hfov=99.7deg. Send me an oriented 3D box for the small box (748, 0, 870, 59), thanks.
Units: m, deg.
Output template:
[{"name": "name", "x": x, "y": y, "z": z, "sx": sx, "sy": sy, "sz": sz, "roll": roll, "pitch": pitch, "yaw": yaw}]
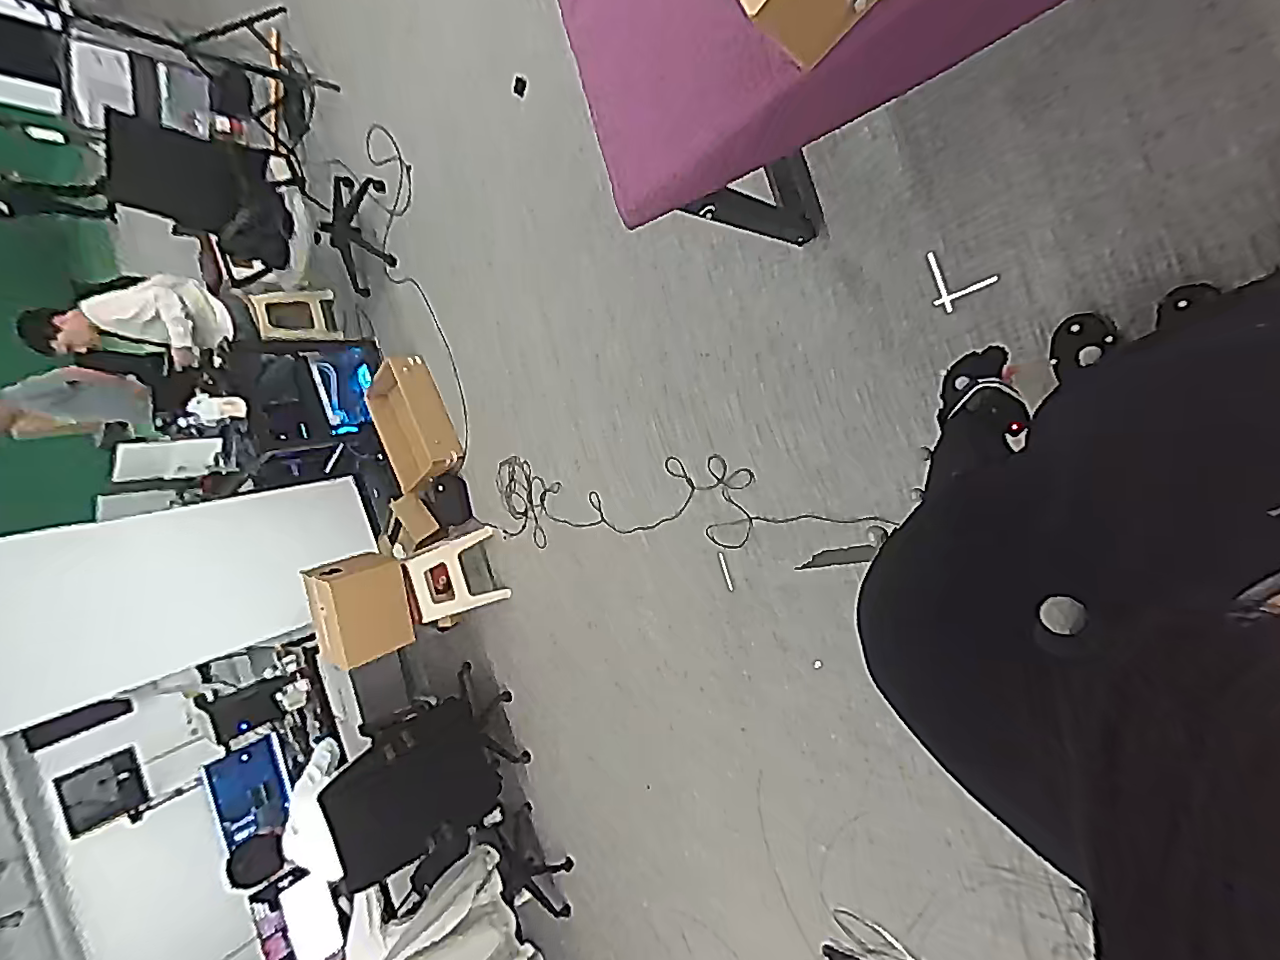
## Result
[{"name": "small box", "x": 0.199, "y": -0.649, "z": 0.621, "sx": 0.179, "sy": 0.176, "sz": 0.168, "roll": -32, "pitch": 80, "yaw": 40}]
